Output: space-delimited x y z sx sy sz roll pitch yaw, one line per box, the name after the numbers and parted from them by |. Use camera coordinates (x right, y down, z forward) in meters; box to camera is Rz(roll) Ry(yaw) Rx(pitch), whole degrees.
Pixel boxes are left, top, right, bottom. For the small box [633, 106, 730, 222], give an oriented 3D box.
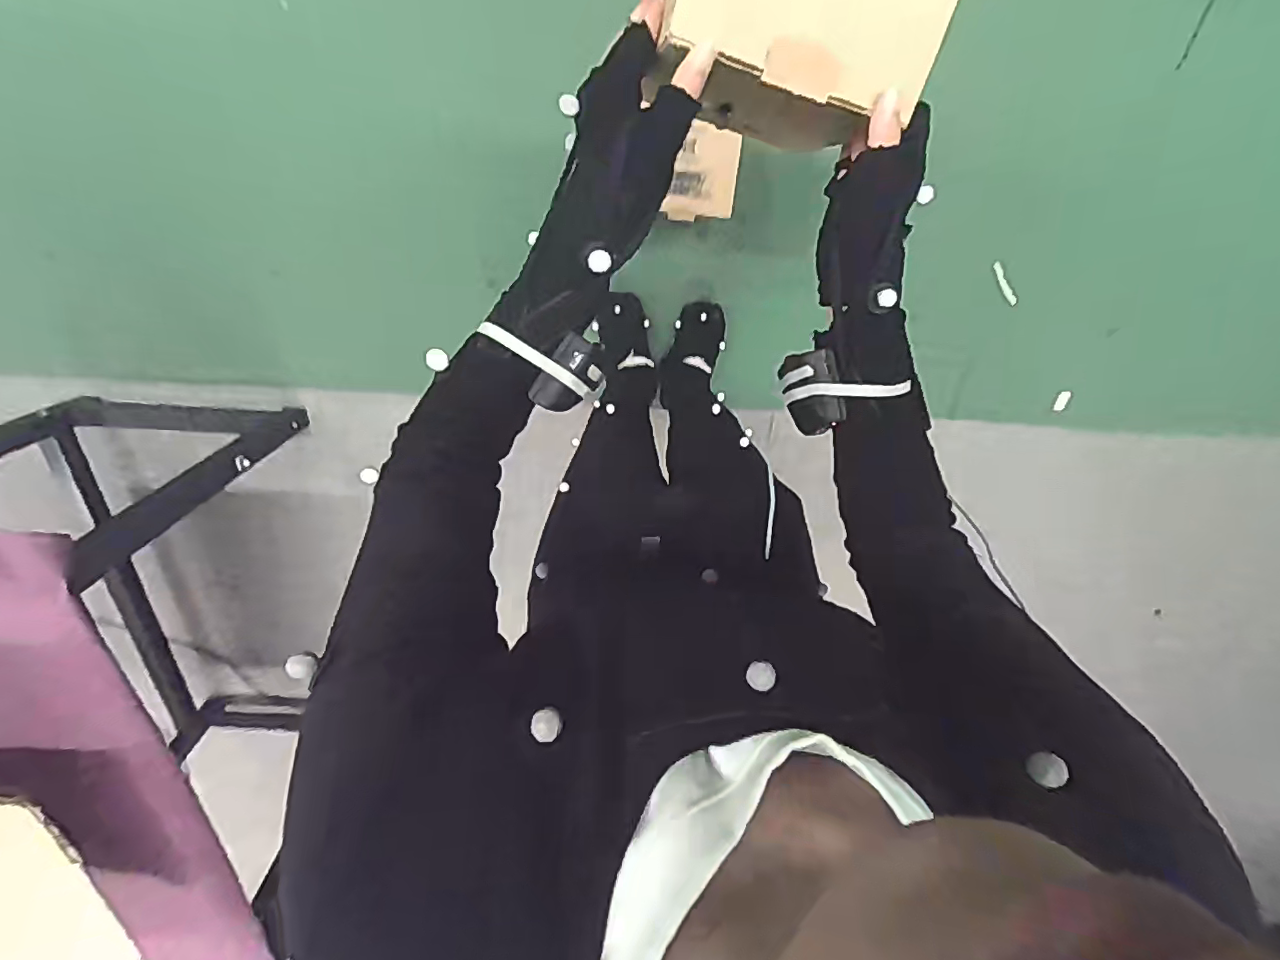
0.076 -0.621 1.076 0.168 0.176 0.179 5 117 -3 | small box

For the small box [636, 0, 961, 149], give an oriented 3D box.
0.102 -0.347 0.362 0.168 0.176 0.179 9 115 -14 | small box
